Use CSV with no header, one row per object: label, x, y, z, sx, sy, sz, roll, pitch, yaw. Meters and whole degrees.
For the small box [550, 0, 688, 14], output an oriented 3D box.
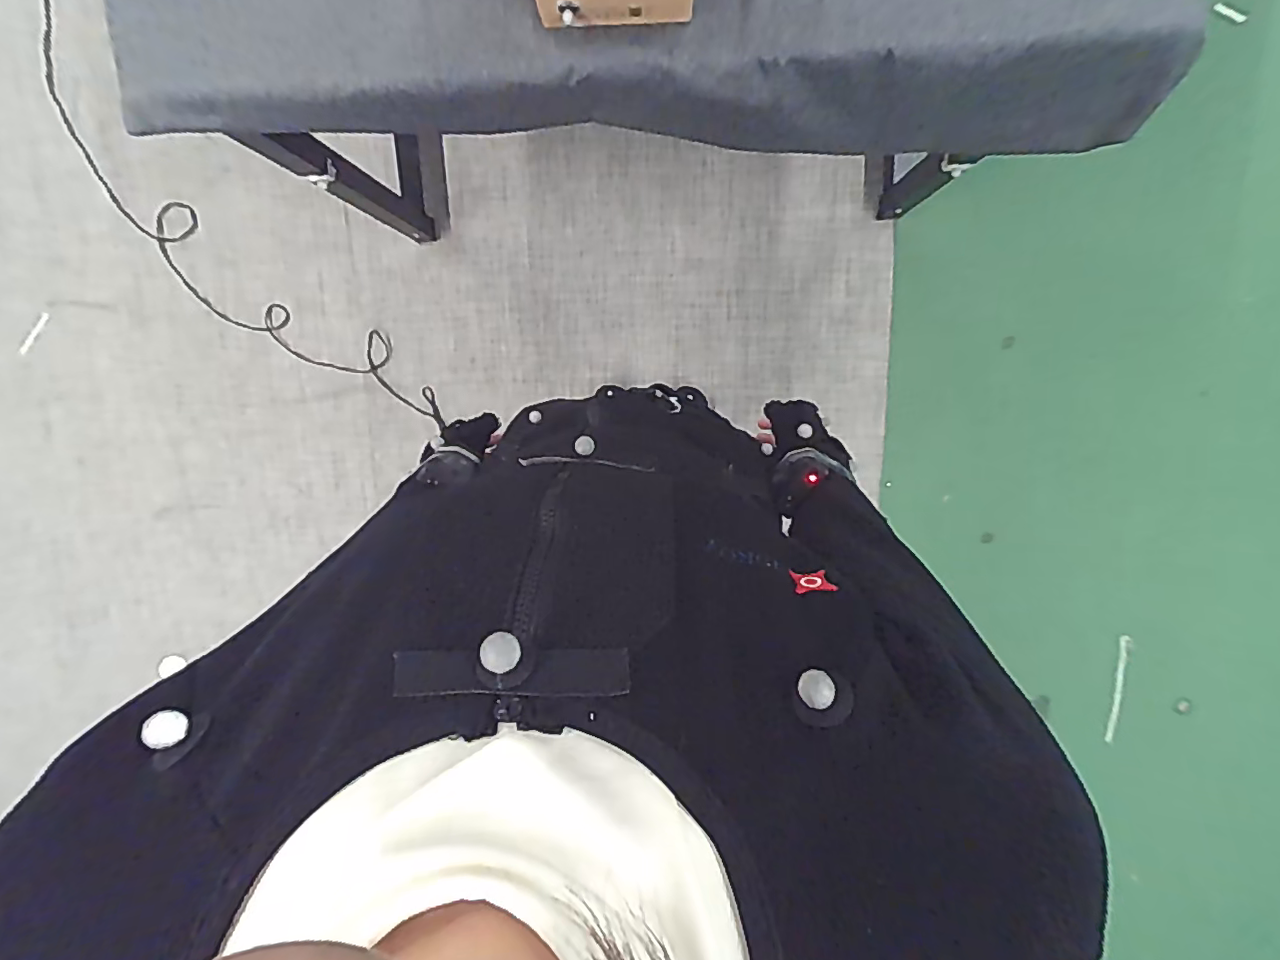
small box,-0.029,-0.591,0.516,0.168,0.176,0.179,0,98,2
